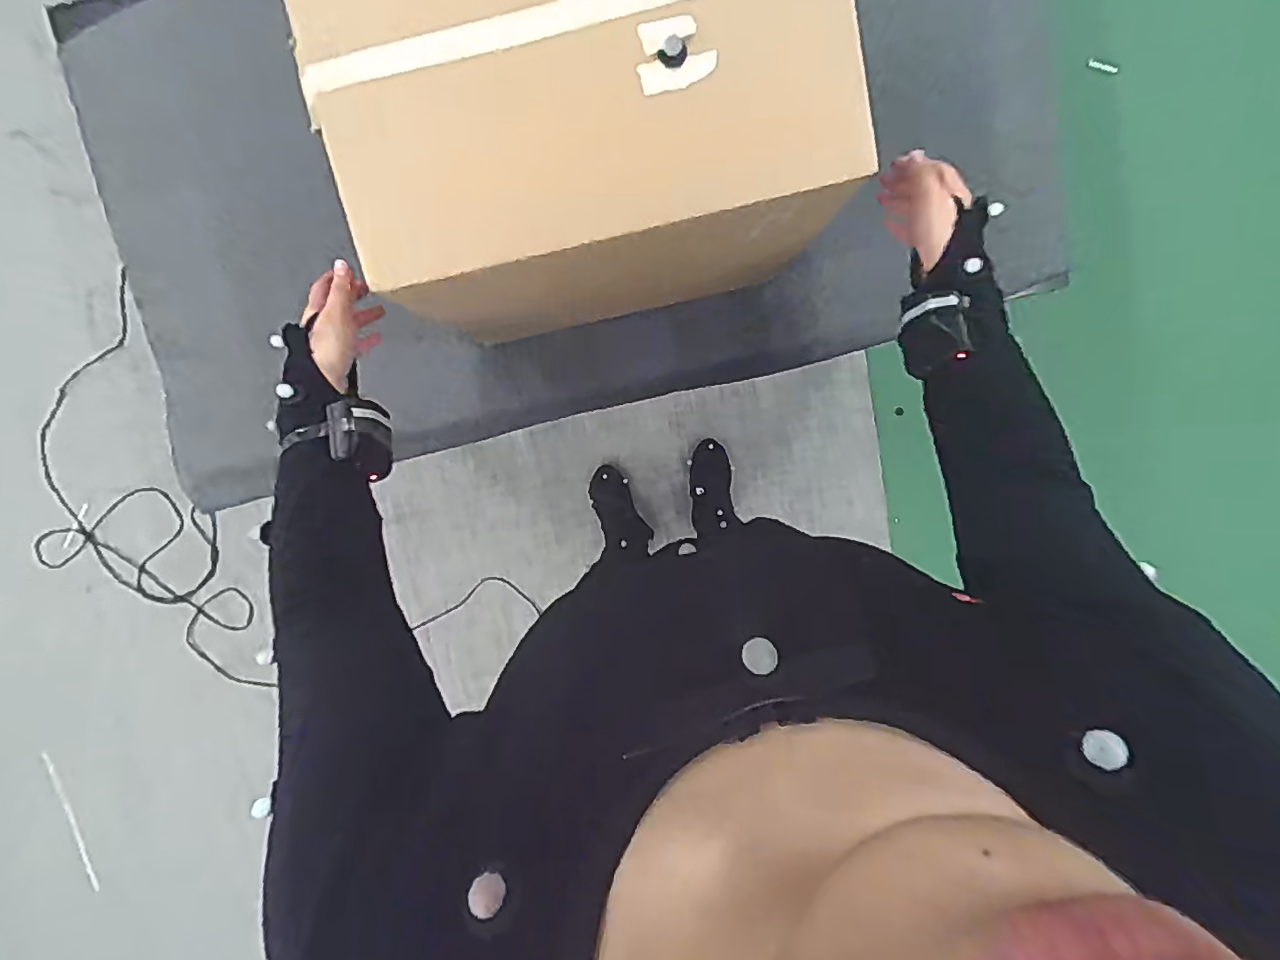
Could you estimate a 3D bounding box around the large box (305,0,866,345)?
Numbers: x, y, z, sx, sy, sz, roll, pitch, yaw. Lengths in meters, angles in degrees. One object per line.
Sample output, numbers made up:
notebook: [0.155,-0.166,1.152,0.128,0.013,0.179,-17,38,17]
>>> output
large box: [-0.049,-0.359,0.564,0.408,0.320,0.320,-13,96,1]
